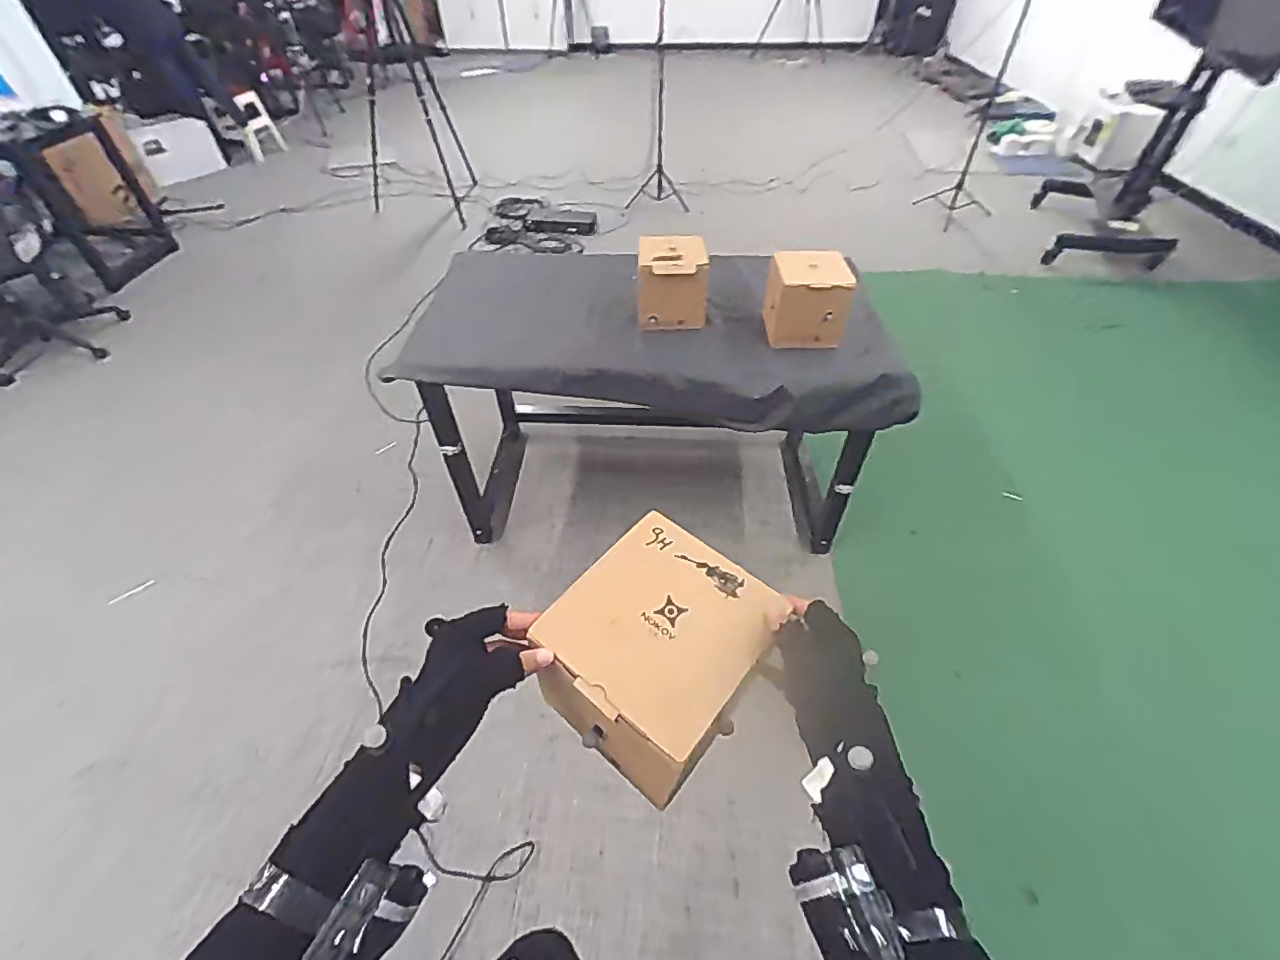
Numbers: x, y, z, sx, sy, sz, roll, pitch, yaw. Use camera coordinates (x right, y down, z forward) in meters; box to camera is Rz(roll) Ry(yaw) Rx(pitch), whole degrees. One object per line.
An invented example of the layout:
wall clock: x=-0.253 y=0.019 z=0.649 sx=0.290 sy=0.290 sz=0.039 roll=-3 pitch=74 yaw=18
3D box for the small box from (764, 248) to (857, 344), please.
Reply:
small box: x=0.405 y=-0.445 z=1.313 sx=0.168 sy=0.176 sz=0.179 roll=1 pitch=45 yaw=1

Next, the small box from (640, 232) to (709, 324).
small box: x=0.083 y=-0.511 z=1.379 sx=0.168 sy=0.176 sz=0.179 roll=-1 pitch=46 yaw=0
